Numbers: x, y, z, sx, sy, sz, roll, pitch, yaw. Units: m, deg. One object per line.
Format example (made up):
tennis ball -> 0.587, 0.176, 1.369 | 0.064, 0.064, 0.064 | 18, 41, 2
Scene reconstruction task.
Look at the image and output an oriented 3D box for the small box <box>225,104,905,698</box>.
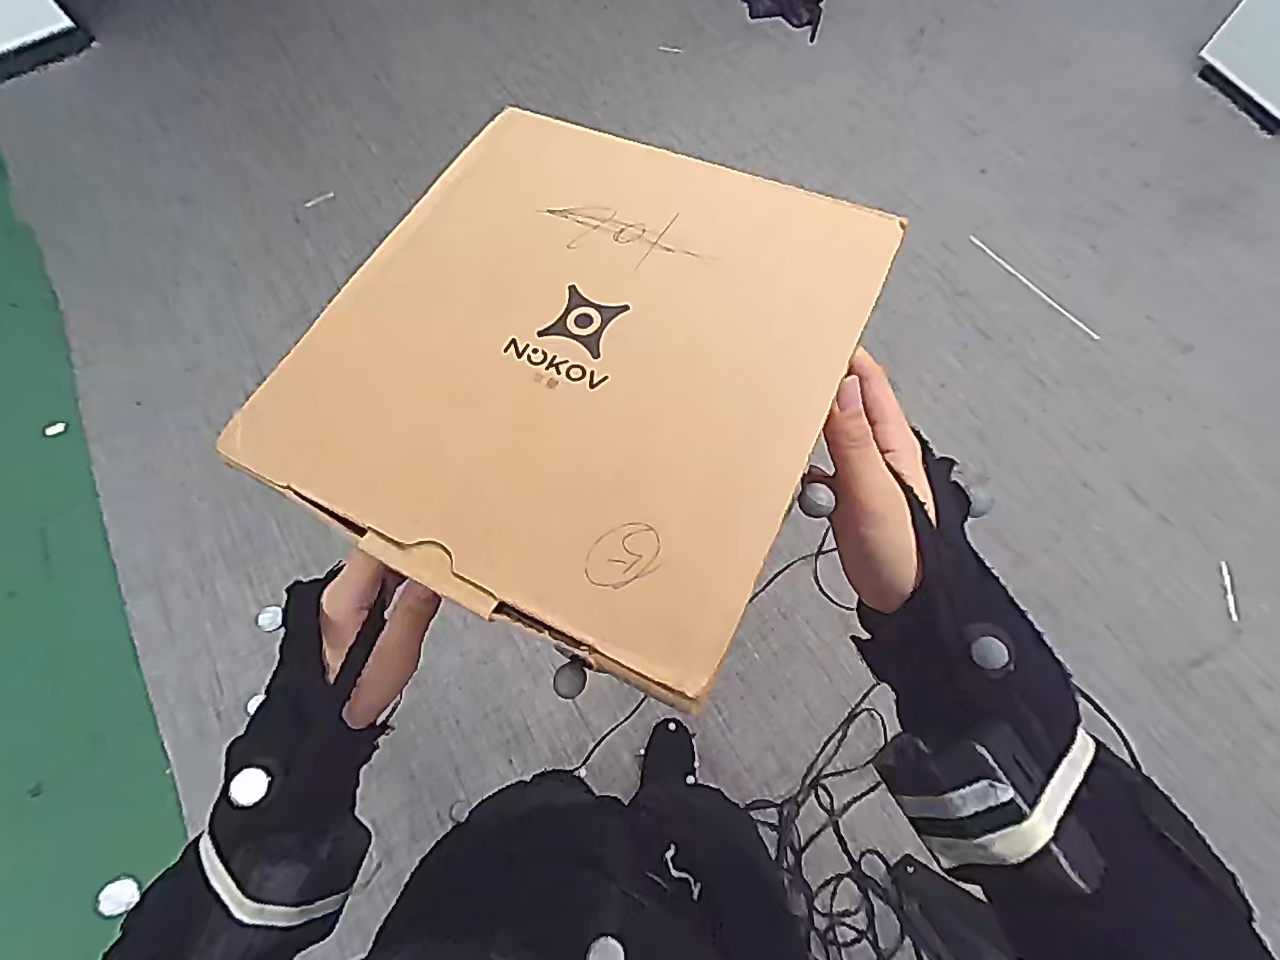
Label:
small box -> -0.014, -0.018, 0.248 | 0.168, 0.176, 0.179 | 24, 70, 12
